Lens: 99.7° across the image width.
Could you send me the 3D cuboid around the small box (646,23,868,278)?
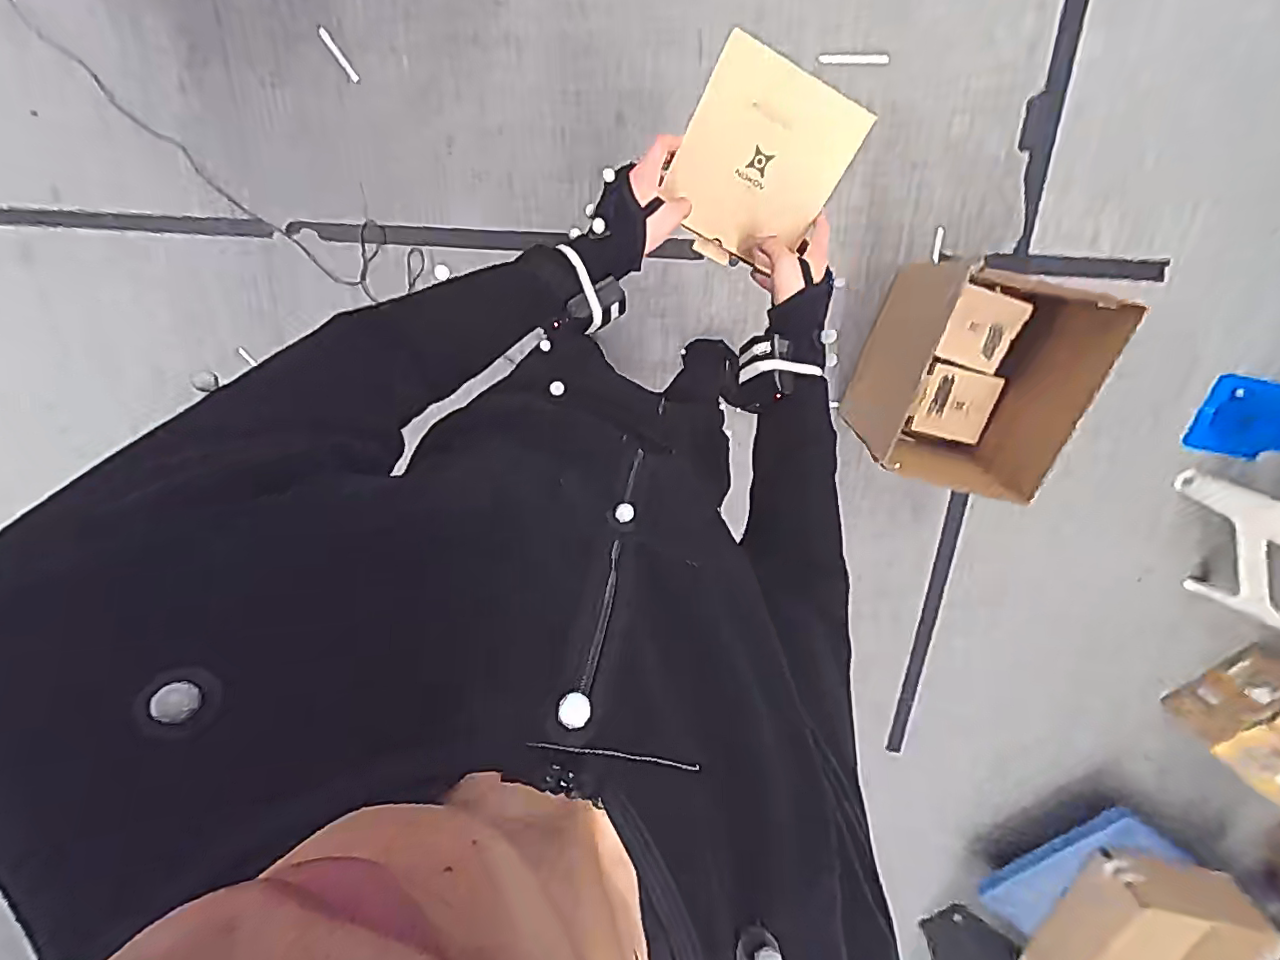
[{"bbox_3d":[0.123,-0.363,0.622,0.168,0.176,0.179,25,118,-8],"label":"small box"}]
